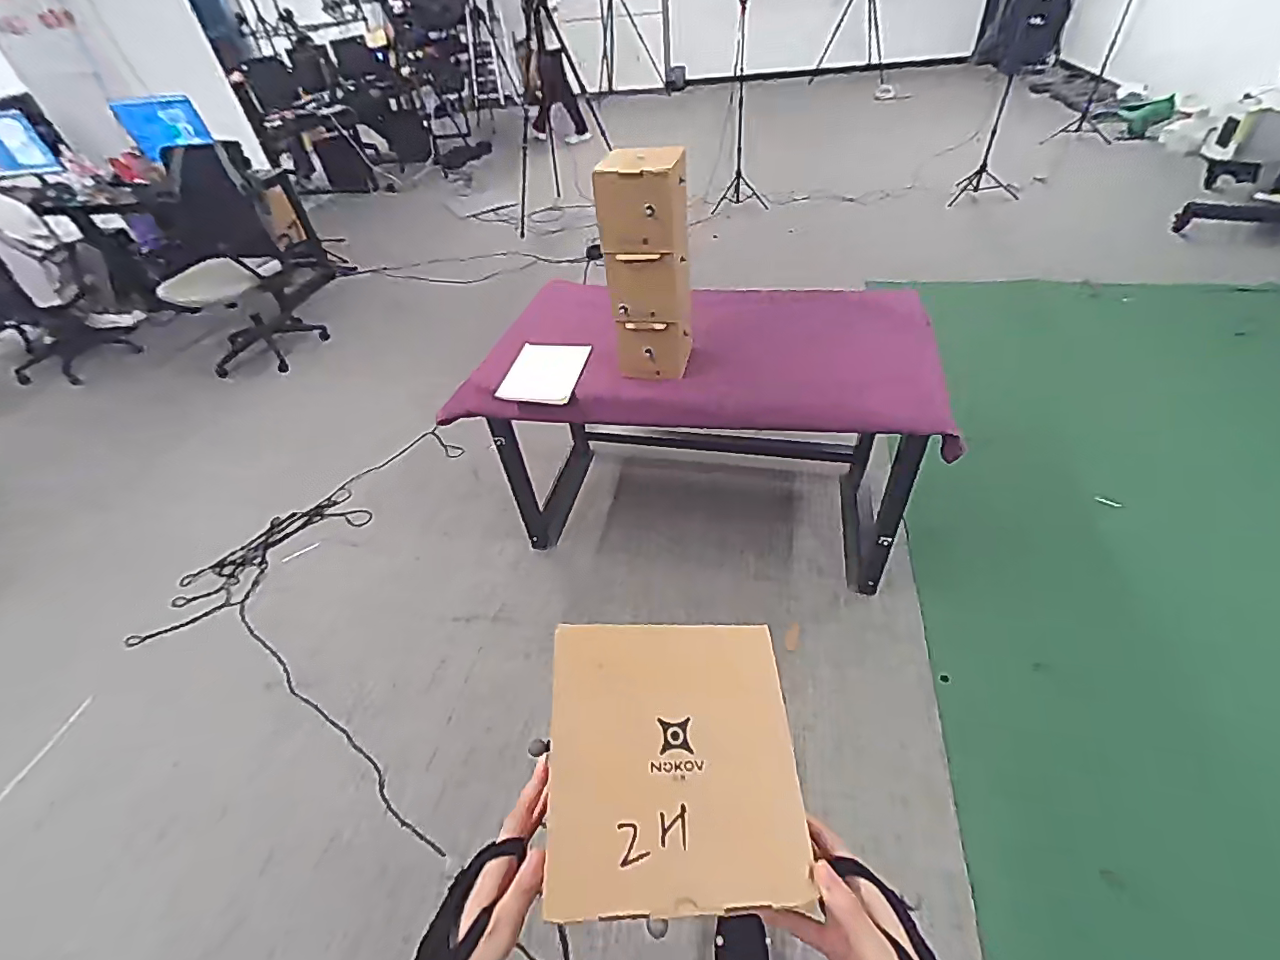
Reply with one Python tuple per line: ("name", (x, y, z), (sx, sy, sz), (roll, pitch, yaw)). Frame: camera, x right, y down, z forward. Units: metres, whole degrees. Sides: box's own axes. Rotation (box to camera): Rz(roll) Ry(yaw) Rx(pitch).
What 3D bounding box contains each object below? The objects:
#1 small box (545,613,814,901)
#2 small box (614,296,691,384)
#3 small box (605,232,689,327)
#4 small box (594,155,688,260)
("small box", (0.013, 0.223, 0.432), (0.168, 0.176, 0.179), (3, 53, -7))
("small box", (0.042, -0.370, 1.427), (0.168, 0.176, 0.179), (6, 45, 13))
("small box", (0.026, -0.486, 1.310), (0.168, 0.176, 0.179), (6, 44, 13))
("small box", (0.011, -0.601, 1.195), (0.168, 0.176, 0.179), (7, 44, 14))
